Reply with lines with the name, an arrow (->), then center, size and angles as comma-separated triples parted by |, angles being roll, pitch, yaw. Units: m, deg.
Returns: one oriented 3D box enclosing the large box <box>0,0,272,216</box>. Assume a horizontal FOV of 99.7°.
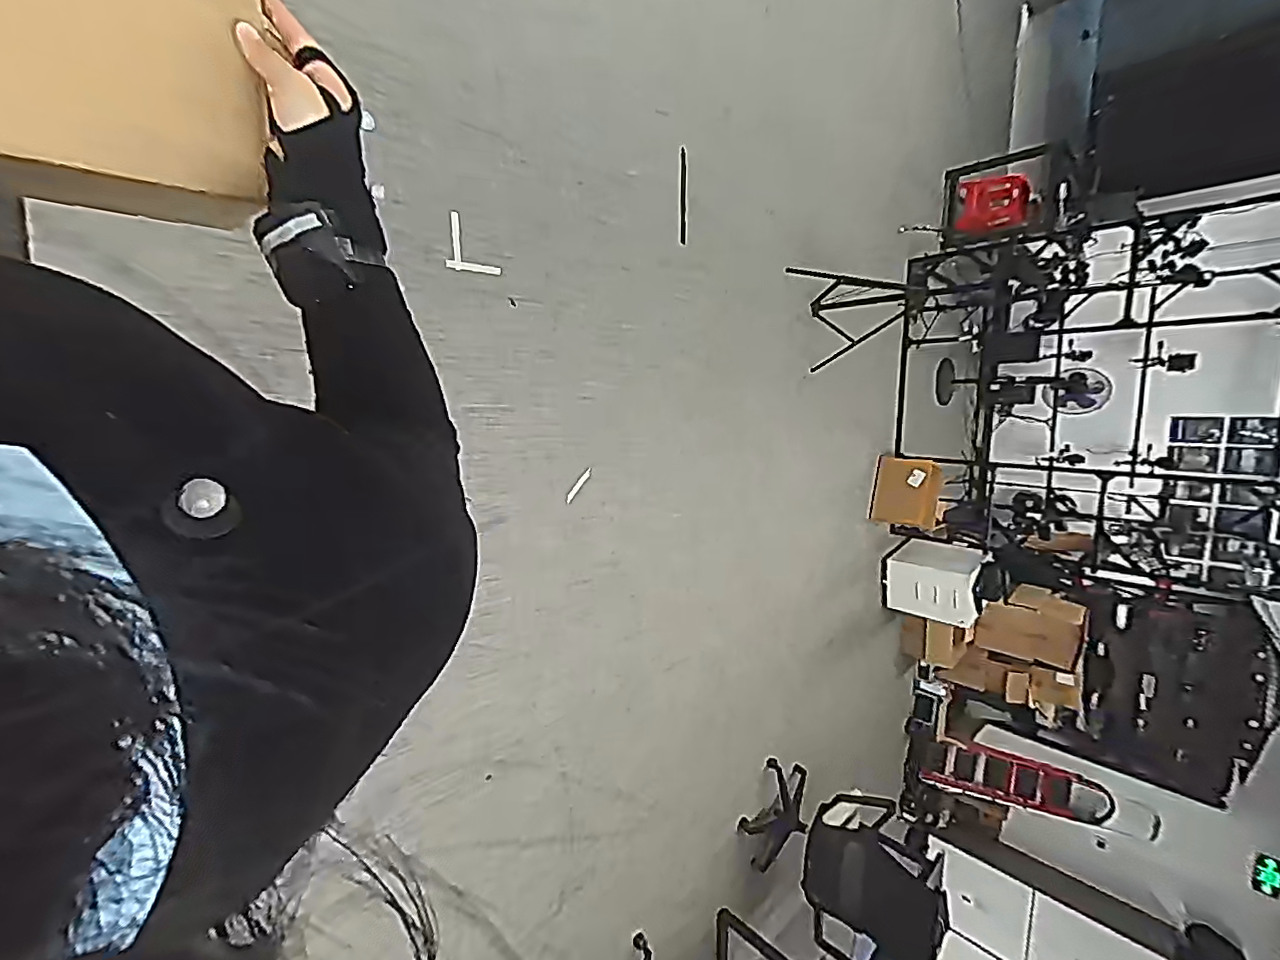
large box -> -0.537, -0.397, 0.384 | 0.408, 0.320, 0.320 | -8, 110, -41
